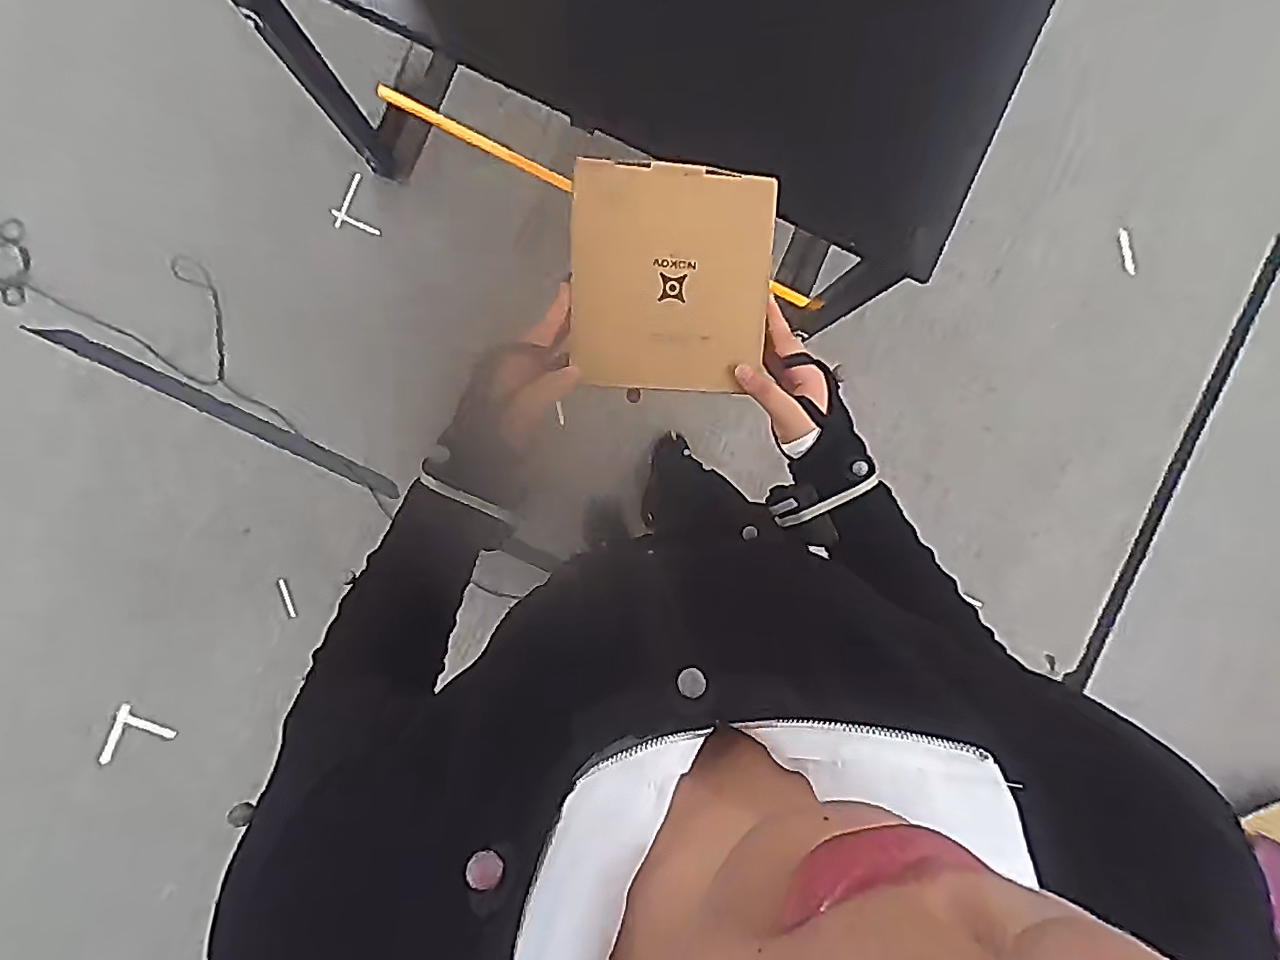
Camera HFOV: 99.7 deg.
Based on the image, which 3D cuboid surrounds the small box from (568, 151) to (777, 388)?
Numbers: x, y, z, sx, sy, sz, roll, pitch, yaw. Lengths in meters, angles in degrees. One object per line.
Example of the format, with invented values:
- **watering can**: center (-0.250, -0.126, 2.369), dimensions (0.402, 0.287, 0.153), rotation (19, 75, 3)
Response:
- **small box**: center (0.017, -0.182, 0.523), dimensions (0.168, 0.176, 0.179), rotation (2, 101, -8)

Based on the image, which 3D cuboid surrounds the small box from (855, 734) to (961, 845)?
- **small box**: center (0.728, 0.842, 1.492), dimensions (0.168, 0.176, 0.179), rotation (27, 92, -3)
